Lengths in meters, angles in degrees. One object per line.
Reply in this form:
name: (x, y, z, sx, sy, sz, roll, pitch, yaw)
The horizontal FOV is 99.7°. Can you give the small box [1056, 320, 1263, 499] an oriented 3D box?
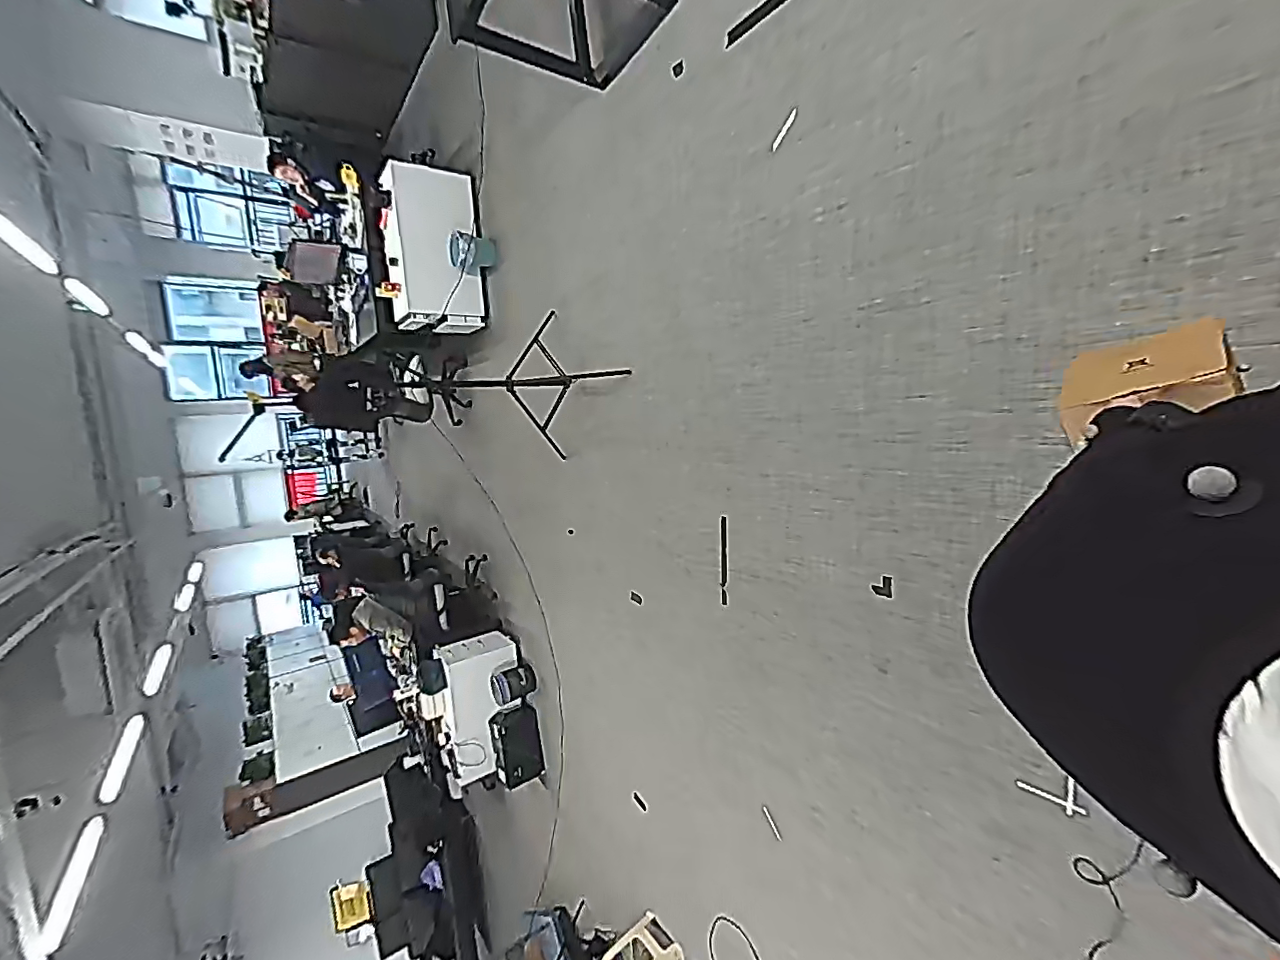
small box: (0.714, -0.086, 0.748, 0.168, 0.179, 0.176, -17, 109, 51)
